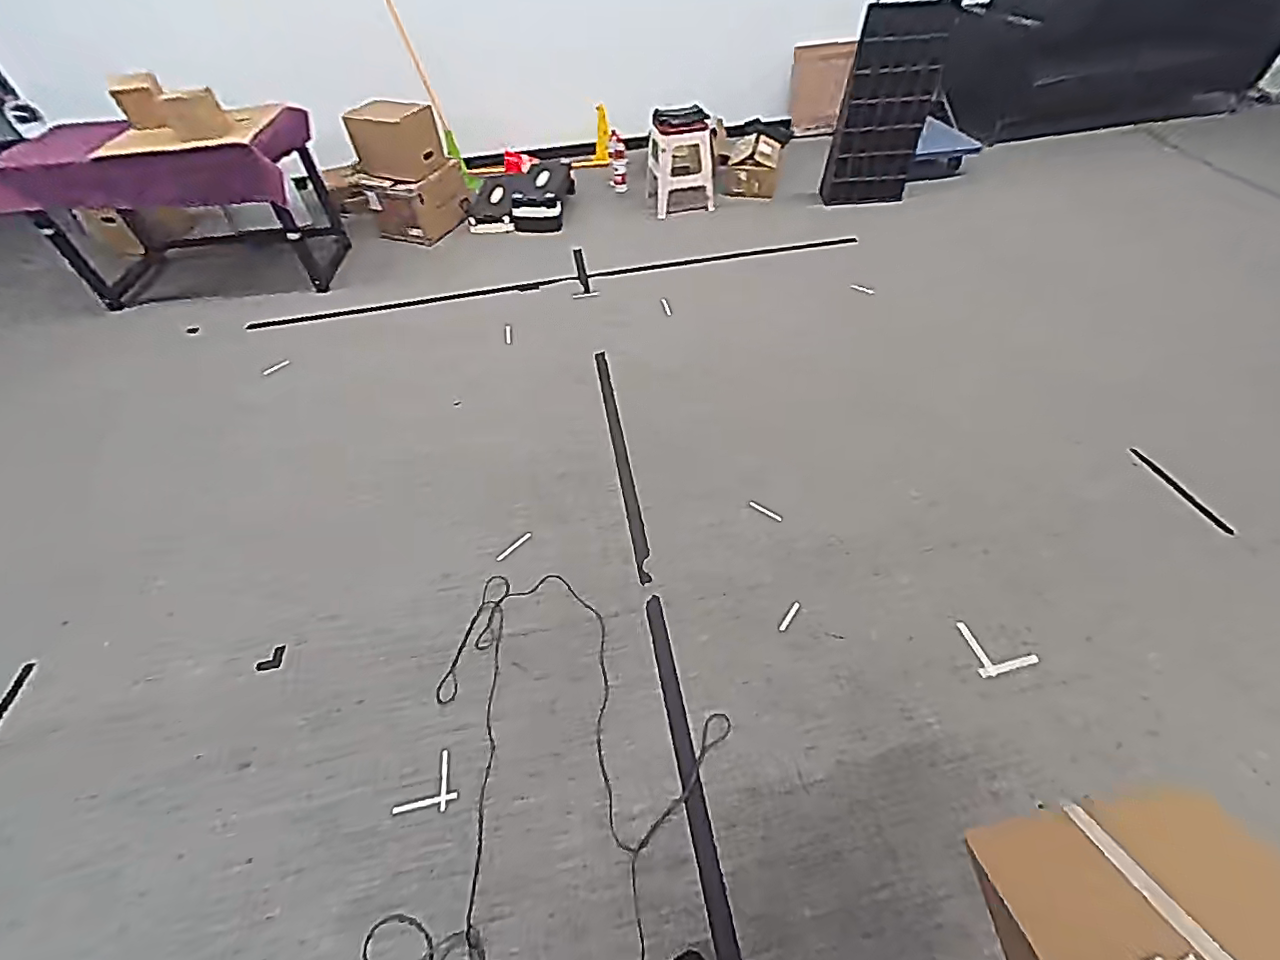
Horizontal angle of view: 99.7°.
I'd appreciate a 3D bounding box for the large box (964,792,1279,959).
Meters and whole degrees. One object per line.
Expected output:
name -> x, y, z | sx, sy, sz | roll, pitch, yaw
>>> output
large box -> 0.652, 0.645, 0.603 | 0.320, 0.408, 0.320 | -20, 91, 8
